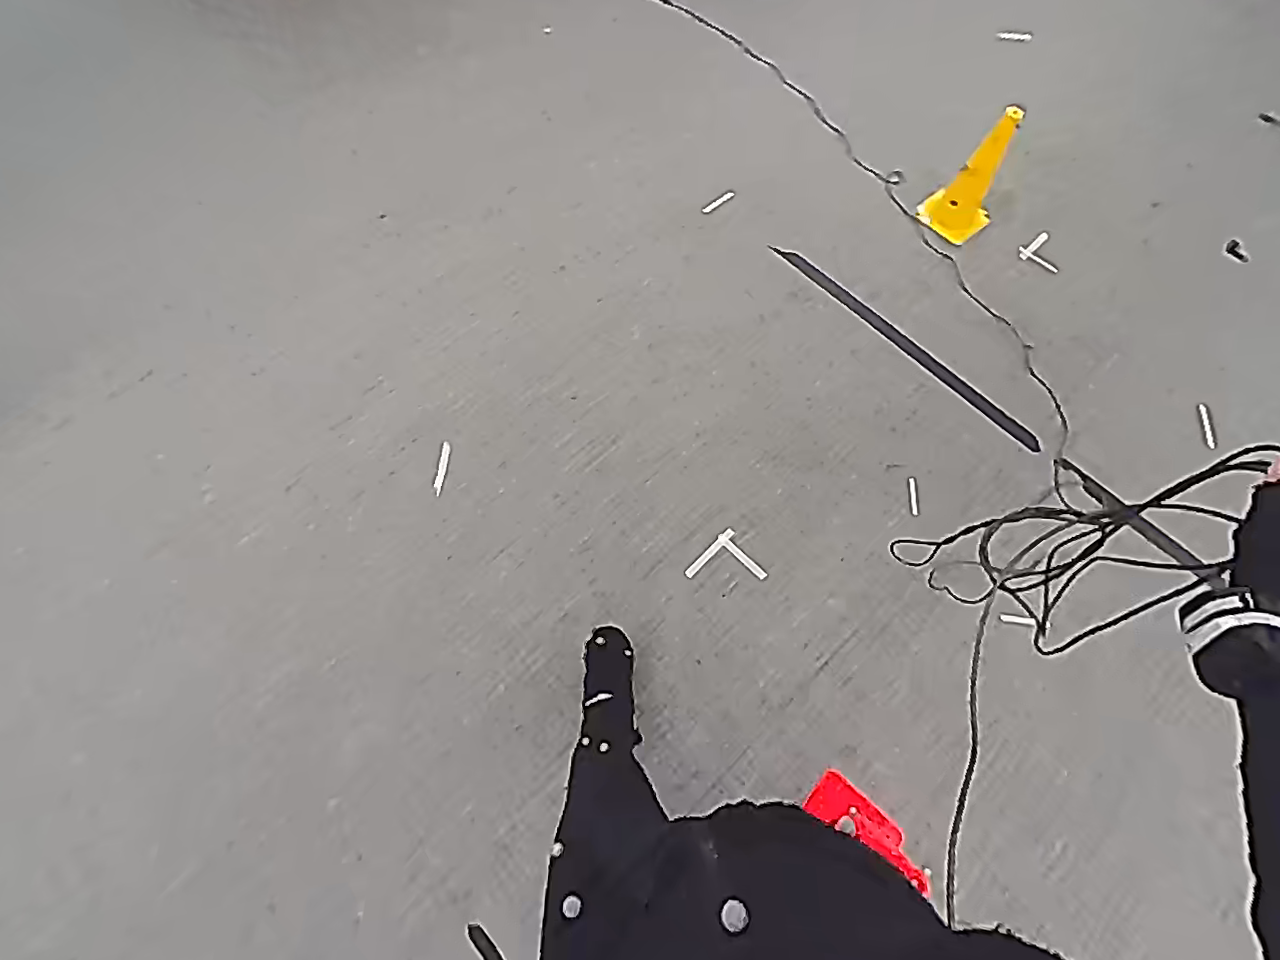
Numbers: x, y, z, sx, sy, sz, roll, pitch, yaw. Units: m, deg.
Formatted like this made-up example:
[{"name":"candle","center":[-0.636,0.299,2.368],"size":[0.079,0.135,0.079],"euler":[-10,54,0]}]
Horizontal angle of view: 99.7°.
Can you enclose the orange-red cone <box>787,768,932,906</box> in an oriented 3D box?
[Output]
[{"name":"orange-red cone","center":[0.441,0.700,1.006],"size":[0.199,0.360,0.198],"euler":[41,74,15]}]
